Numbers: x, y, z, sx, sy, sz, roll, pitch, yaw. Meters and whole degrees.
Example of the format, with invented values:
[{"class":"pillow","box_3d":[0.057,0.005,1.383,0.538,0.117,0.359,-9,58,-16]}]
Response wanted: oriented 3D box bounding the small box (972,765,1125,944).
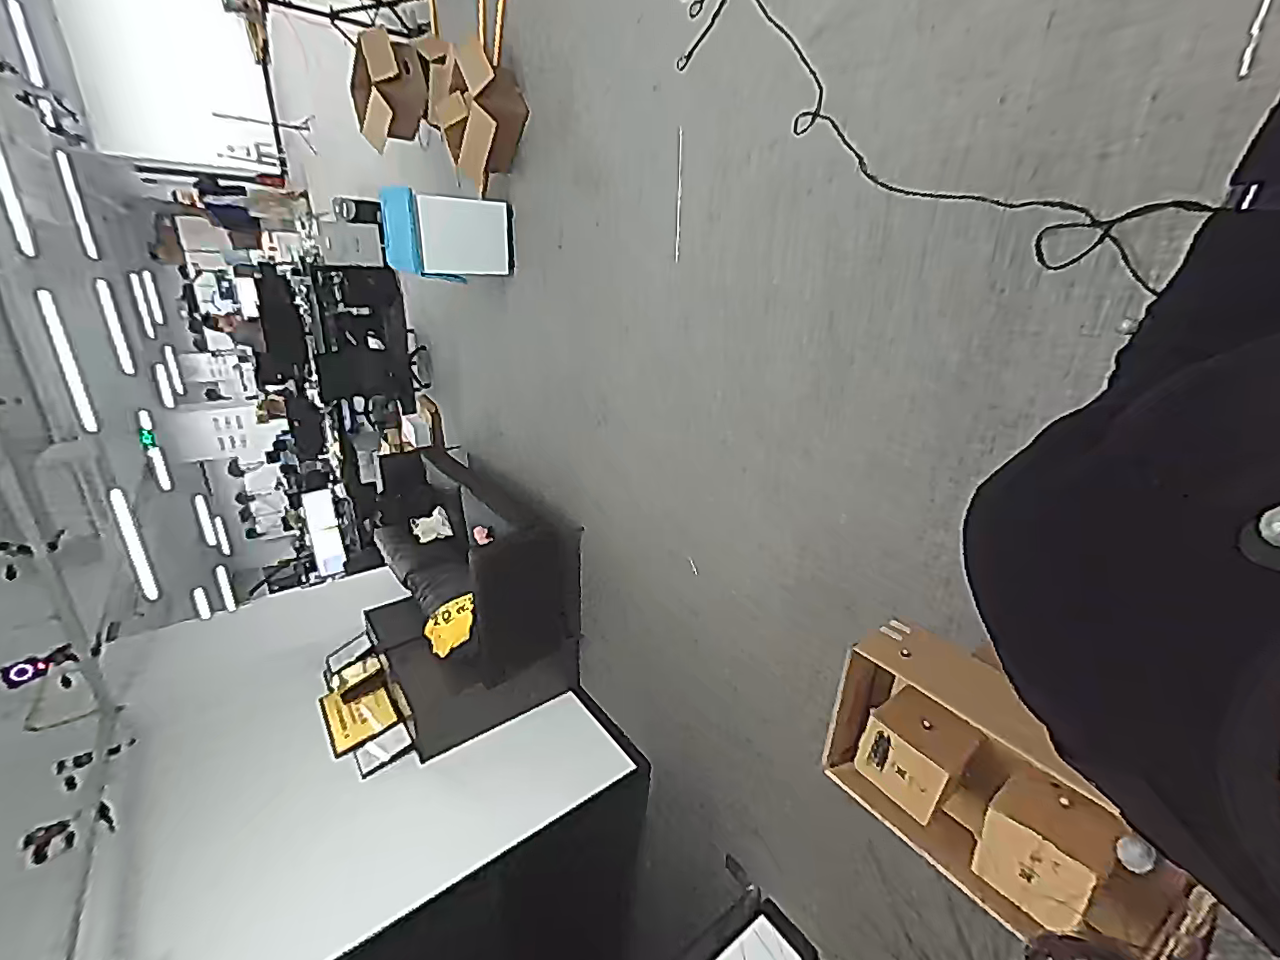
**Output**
[{"class":"small box","box_3d":[0.757,0.682,1.004,0.168,0.176,0.179,24,120,49]}]
